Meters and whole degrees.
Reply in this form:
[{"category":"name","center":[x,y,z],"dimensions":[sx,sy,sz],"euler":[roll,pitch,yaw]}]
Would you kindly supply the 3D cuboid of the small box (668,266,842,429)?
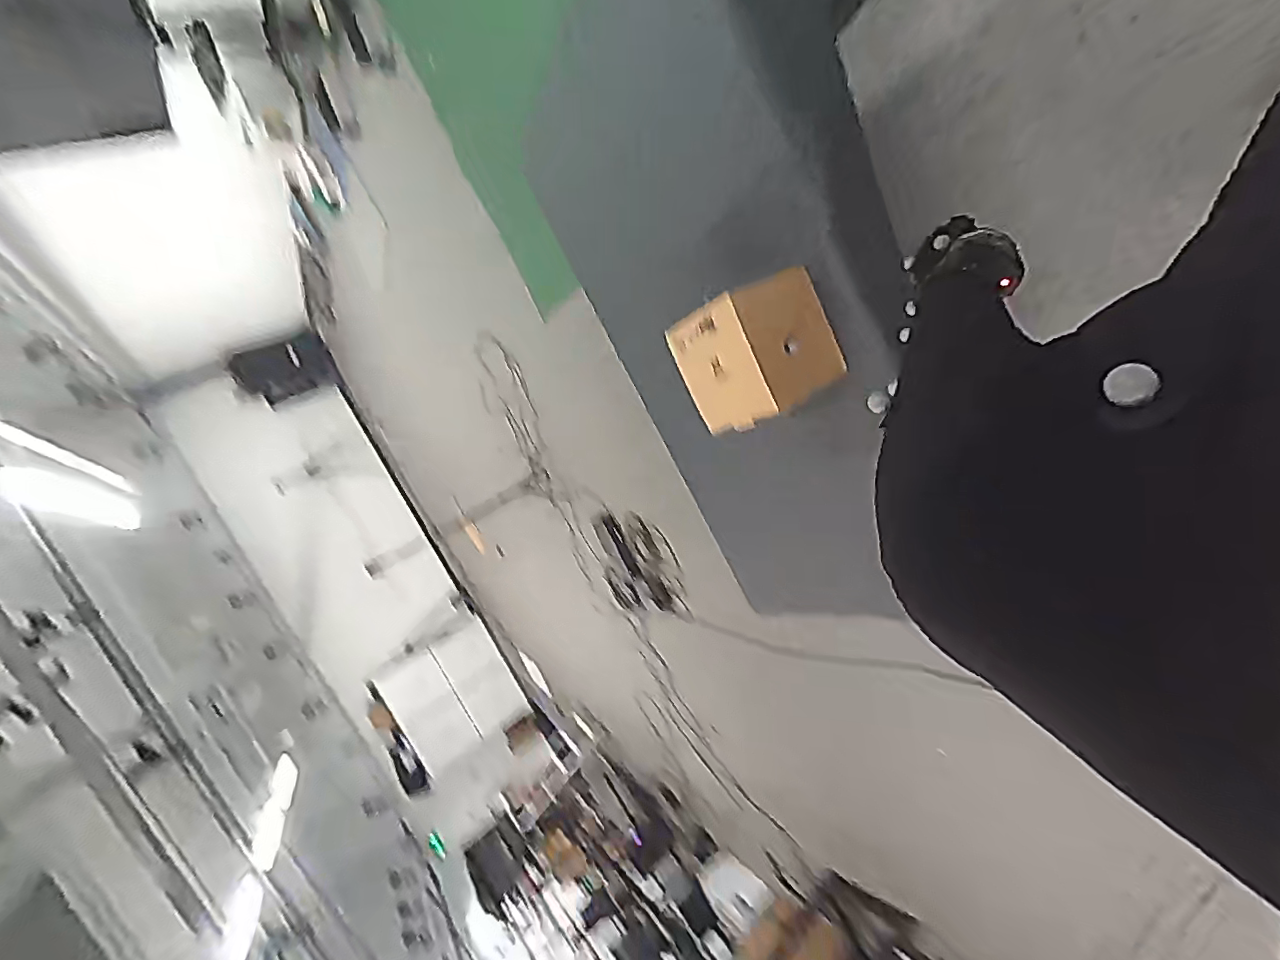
[{"category":"small box","center":[0.182,-0.204,0.847],"dimensions":[0.168,0.176,0.179],"euler":[-12,107,61]}]
